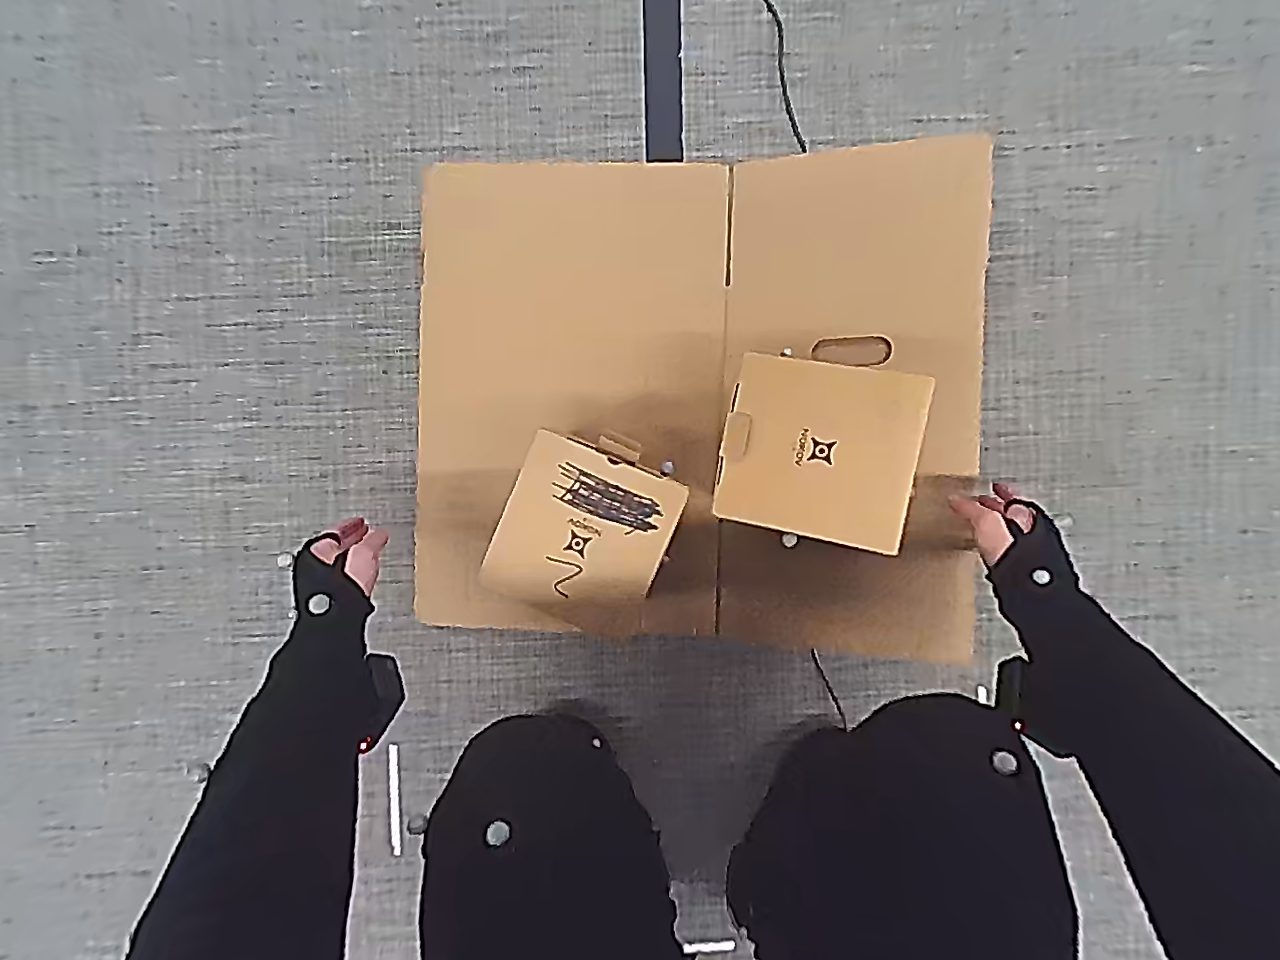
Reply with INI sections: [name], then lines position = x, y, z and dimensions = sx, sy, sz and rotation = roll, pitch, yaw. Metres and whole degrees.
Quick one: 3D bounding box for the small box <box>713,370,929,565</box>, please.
[small box]
position = 0.194, -0.018, 0.604
dimensions = 0.179, 0.176, 0.168
rotation = 12, 95, 17
